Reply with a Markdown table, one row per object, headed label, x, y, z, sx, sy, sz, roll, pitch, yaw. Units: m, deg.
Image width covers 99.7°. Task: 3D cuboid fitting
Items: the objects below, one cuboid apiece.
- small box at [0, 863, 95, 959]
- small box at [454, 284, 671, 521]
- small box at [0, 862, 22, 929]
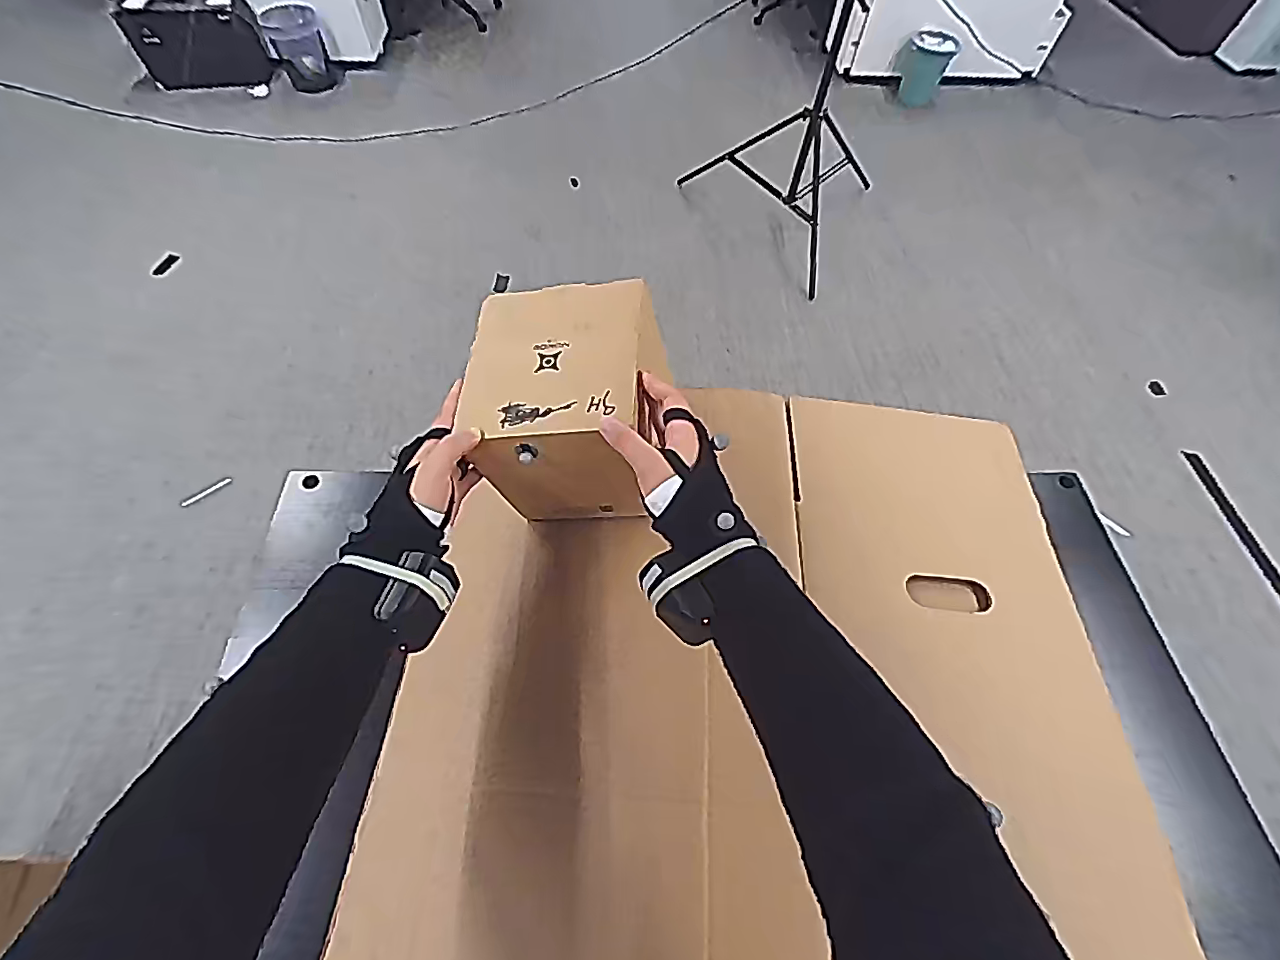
| label | x | y | z | sx | sy | sz | roll | pitch | yaw |
| --- | --- | --- | --- | --- | --- | --- | --- | --- | --- |
| small box | -1.193 | 0.831 | 1.010 | 0.168 | 0.176 | 0.179 | -4 | 59 | -5 |
| small box | -0.062 | -0.072 | 0.563 | 0.168 | 0.176 | 0.179 | -3 | 60 | 12 |
| small box | -1.189 | 0.741 | 0.875 | 0.168 | 0.176 | 0.179 | -6 | 58 | -7 |
